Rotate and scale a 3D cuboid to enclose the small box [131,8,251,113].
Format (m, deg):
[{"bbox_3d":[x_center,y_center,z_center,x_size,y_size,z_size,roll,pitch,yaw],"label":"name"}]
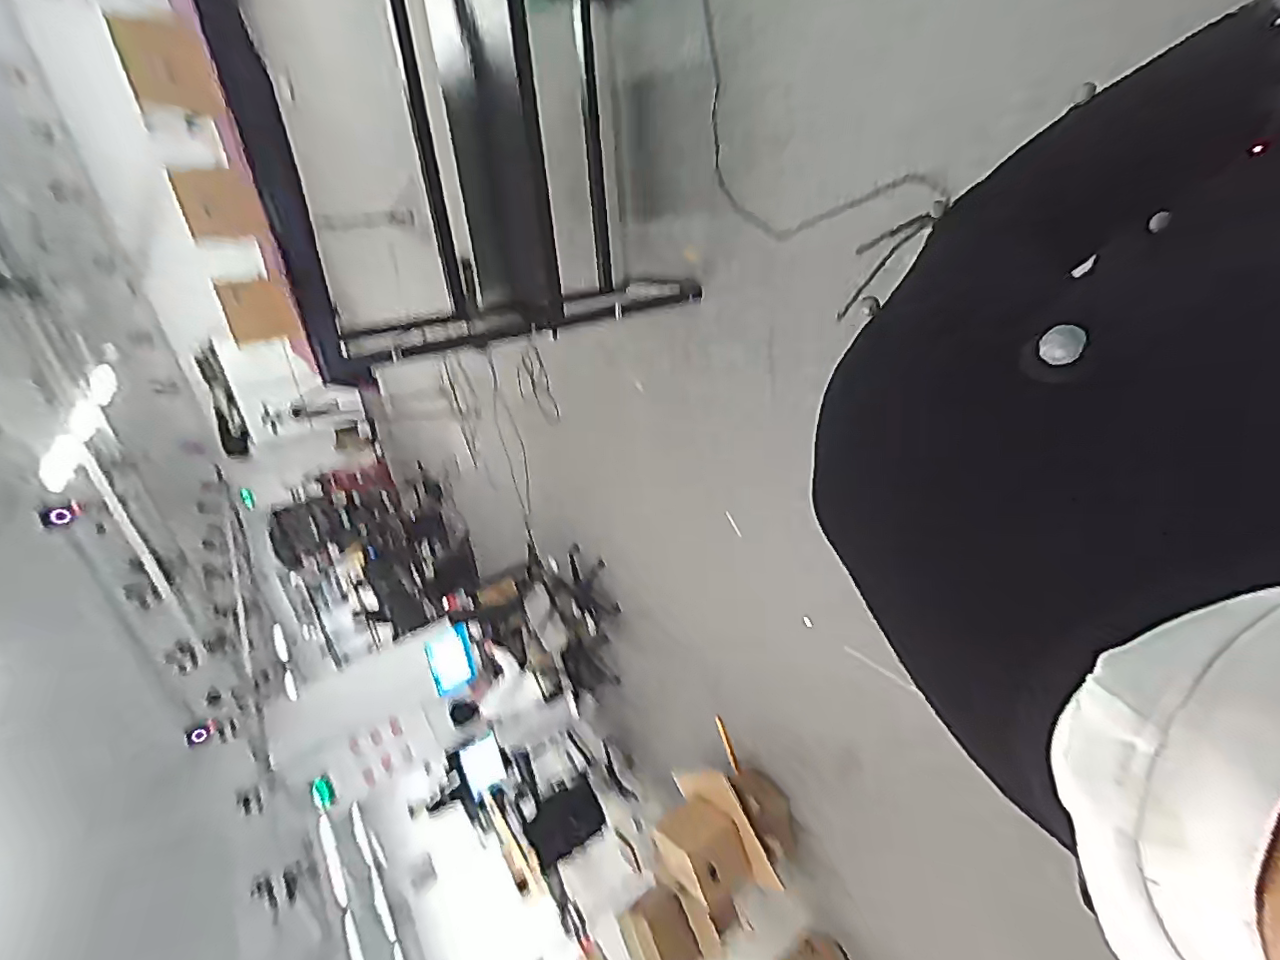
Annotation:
[{"bbox_3d":[-1.059,-0.991,1.289,0.168,0.176,0.179,33,135,46],"label":"small box"}]

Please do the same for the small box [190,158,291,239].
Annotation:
[{"bbox_3d":[-1.041,-0.739,1.420,0.168,0.176,0.179,32,134,46],"label":"small box"}]

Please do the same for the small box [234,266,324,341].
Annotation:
[{"bbox_3d":[-1.020,-0.505,1.536,0.168,0.176,0.179,26,129,50],"label":"small box"}]
